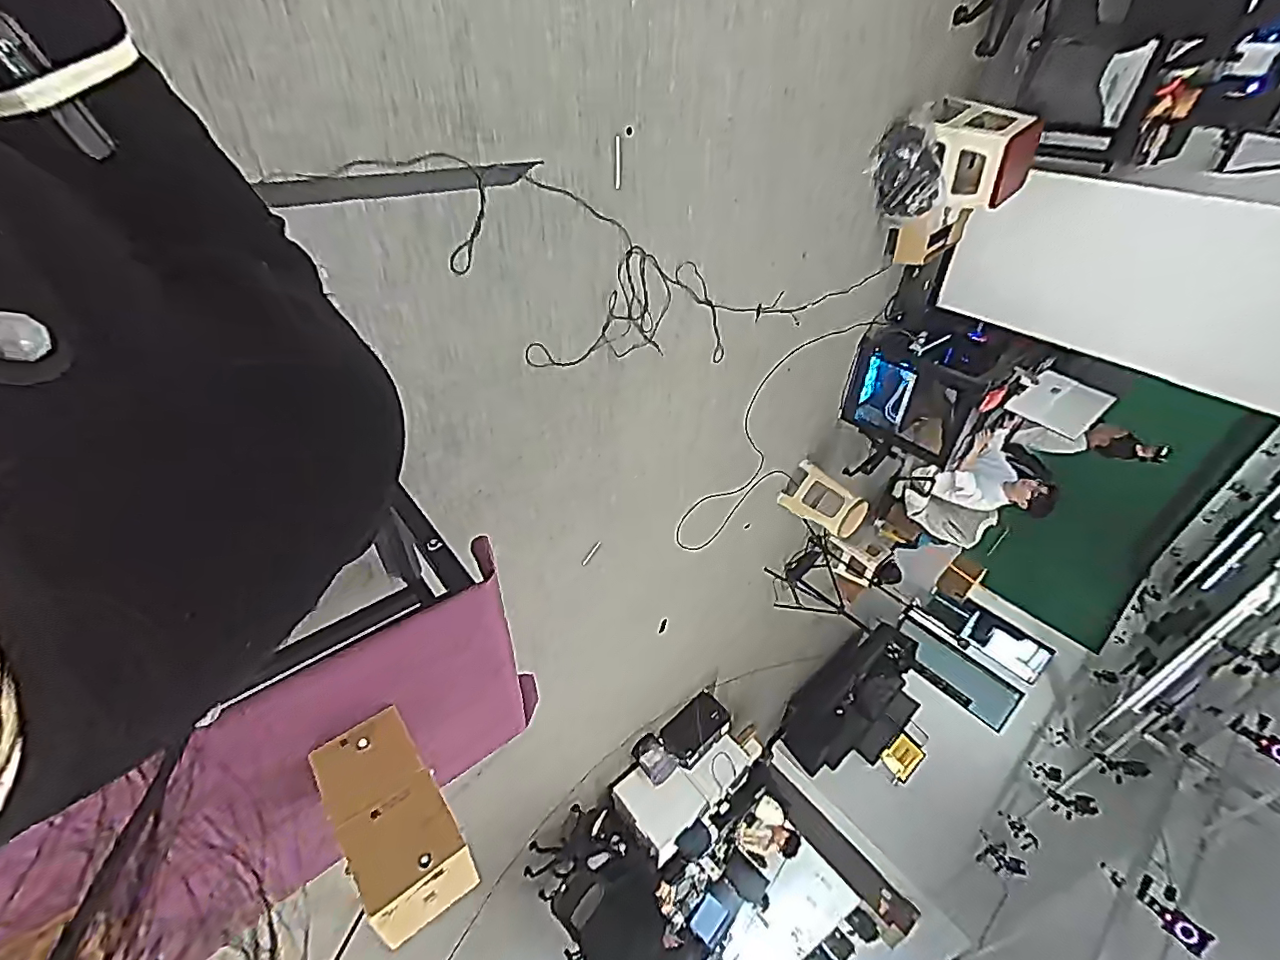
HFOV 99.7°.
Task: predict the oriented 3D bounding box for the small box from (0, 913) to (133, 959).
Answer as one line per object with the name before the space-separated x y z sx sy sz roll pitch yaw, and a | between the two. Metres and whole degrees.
small box | -0.907 0.820 0.825 0.168 0.176 0.179 -23 135 -36

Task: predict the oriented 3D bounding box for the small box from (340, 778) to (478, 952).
small box | -0.412 0.684 0.976 0.168 0.176 0.179 -25 136 -33

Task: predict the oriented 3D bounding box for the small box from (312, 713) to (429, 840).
small box | -0.519 0.604 1.072 0.168 0.176 0.179 -26 135 -32
